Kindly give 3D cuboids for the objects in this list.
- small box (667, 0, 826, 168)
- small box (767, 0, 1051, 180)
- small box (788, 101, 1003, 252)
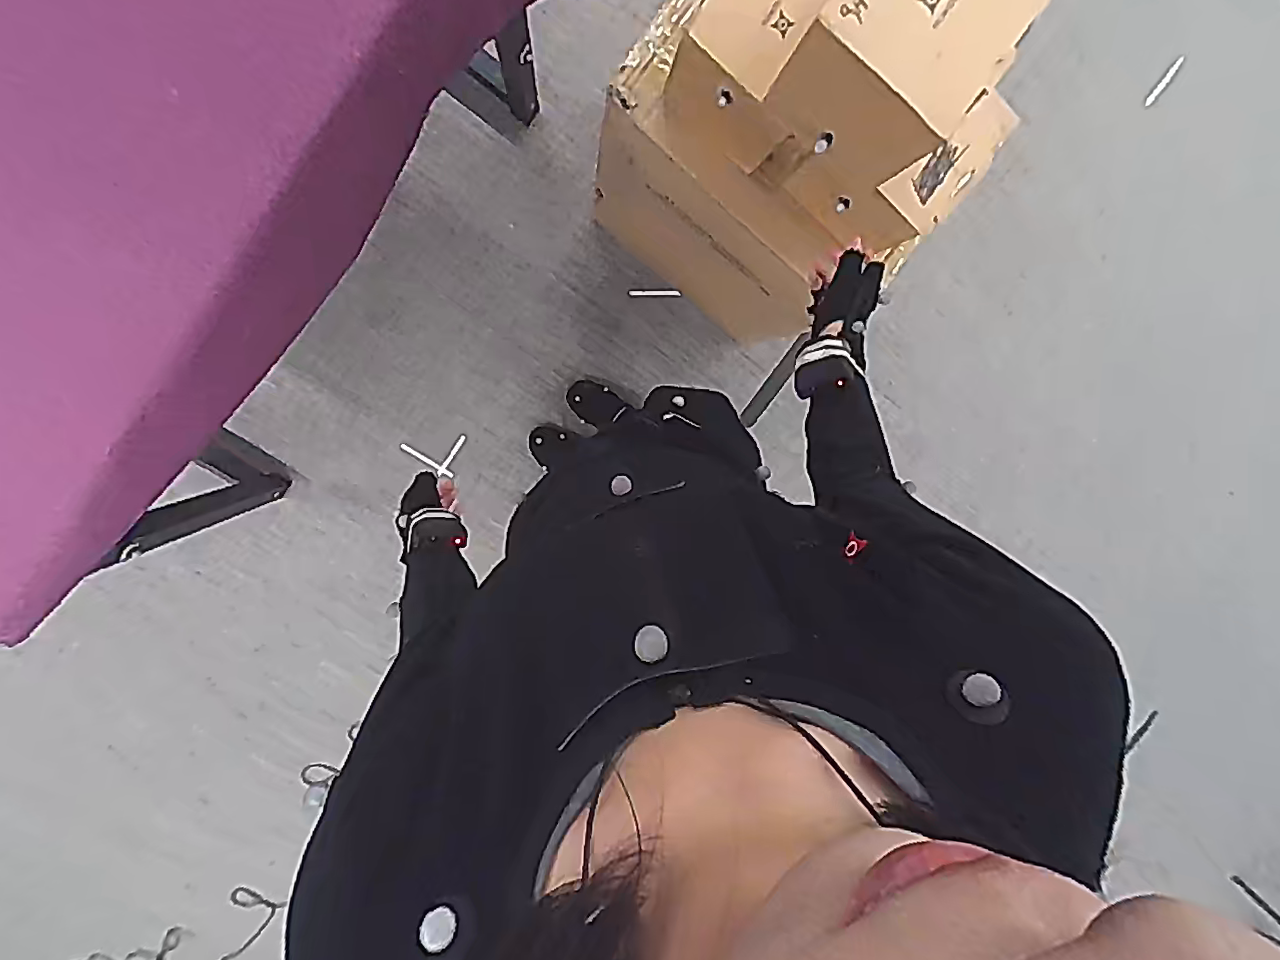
[{"bbox_3d":[0.157,-0.562,0.722,0.179,0.176,0.168,35,95,-13],"label":"small box"},{"bbox_3d":[0.272,-0.462,0.587,0.179,0.176,0.168,35,95,-11],"label":"small box"},{"bbox_3d":[0.345,-0.450,0.763,0.179,0.176,0.168,39,94,-9],"label":"small box"}]
